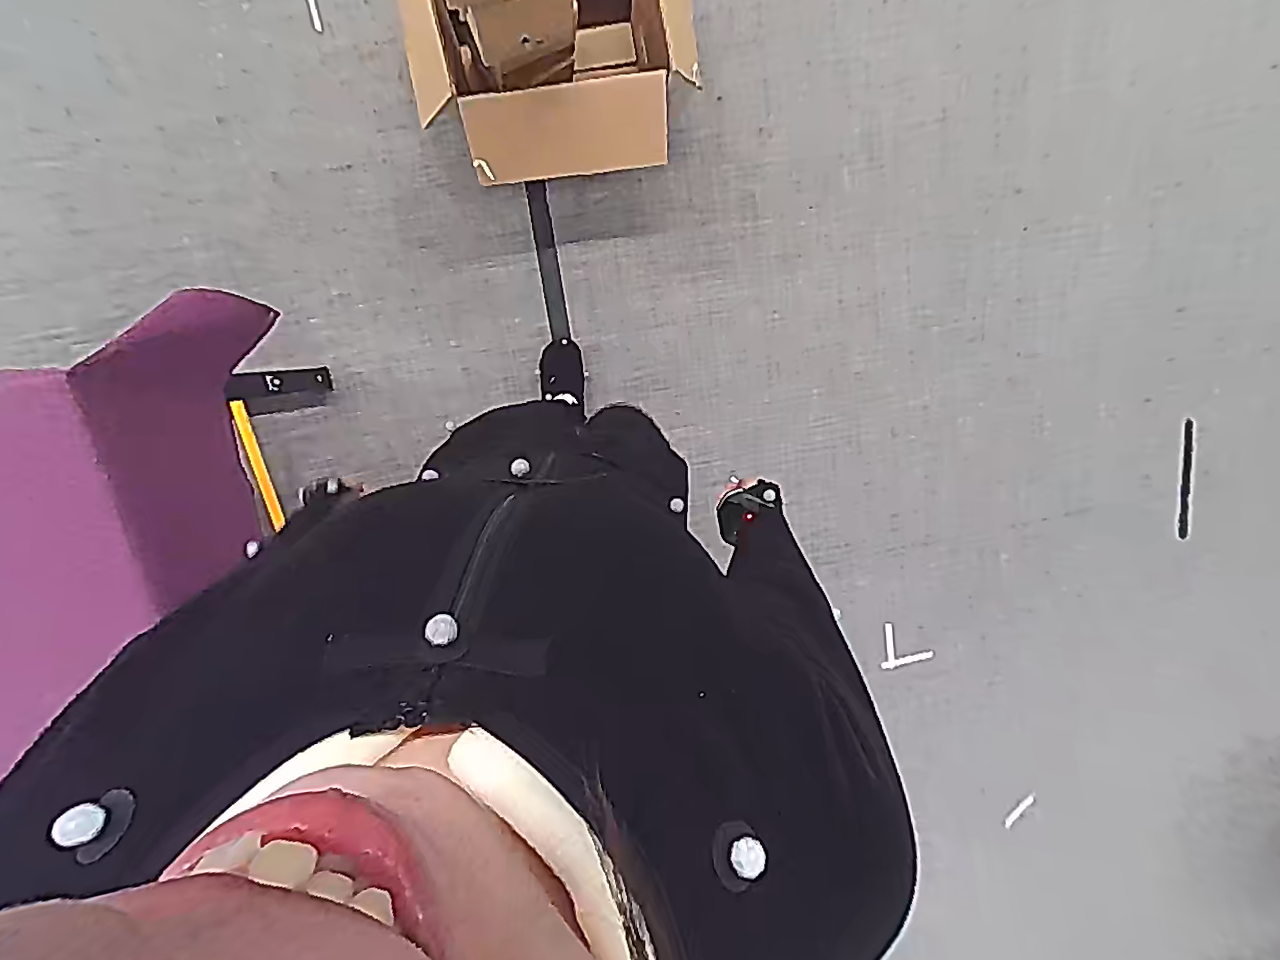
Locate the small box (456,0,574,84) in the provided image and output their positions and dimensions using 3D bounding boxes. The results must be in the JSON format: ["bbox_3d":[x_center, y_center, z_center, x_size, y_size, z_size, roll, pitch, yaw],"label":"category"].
[{"bbox_3d":[-0.238,-0.889,1.005,0.179,0.176,0.168,-31,108,-1],"label":"small box"}]

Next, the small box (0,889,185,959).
[{"bbox_3d":[-0.798,0.723,0.766,0.179,0.176,0.168,-6,104,-3],"label":"small box"}]
